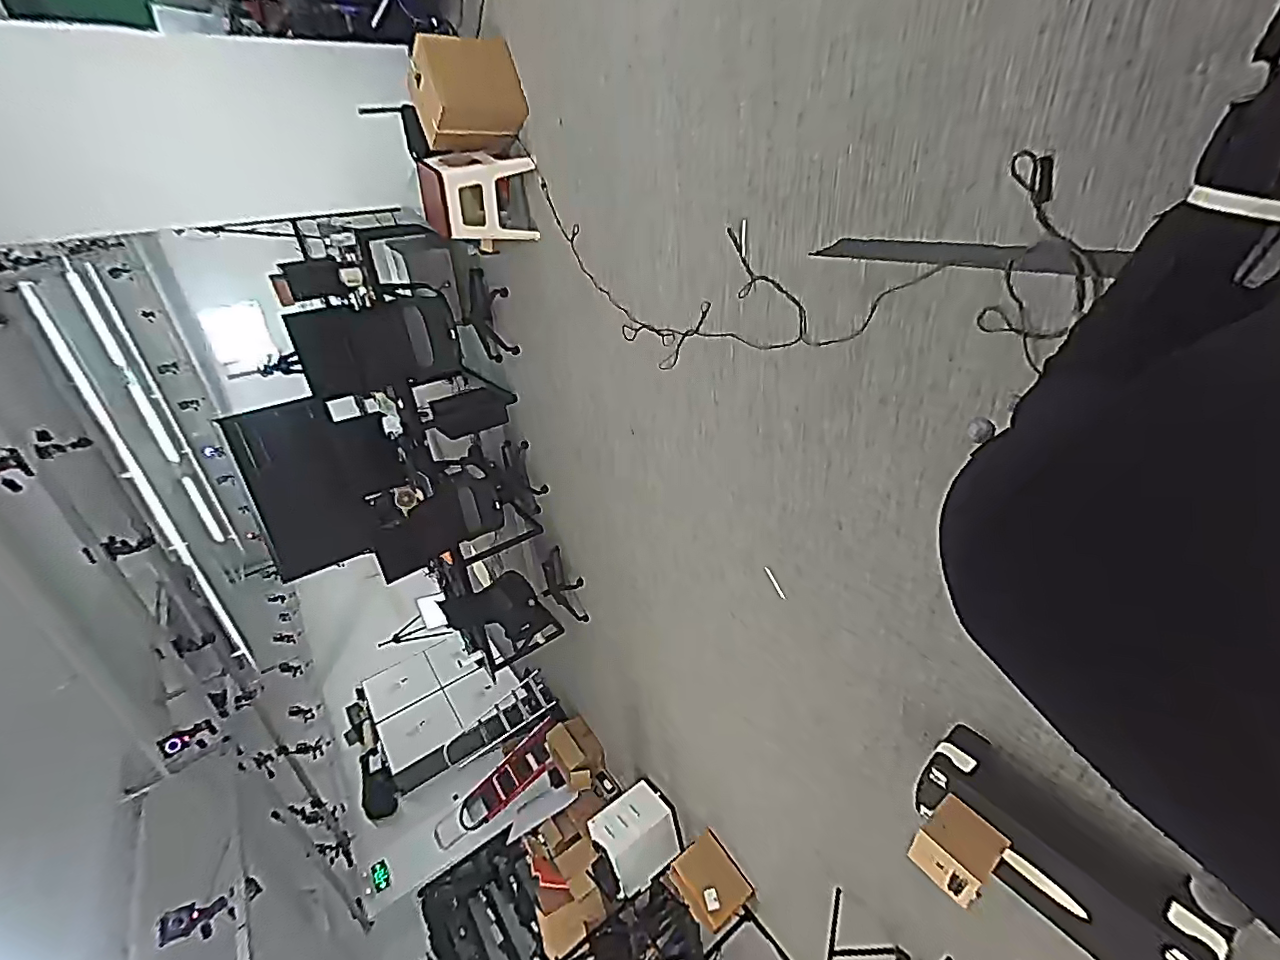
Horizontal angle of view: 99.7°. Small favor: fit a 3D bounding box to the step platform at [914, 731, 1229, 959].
[{"bbox_3d":[1.150,1.070,1.537,0.684,0.204,0.286,30,135,46],"label":"step platform"}]
